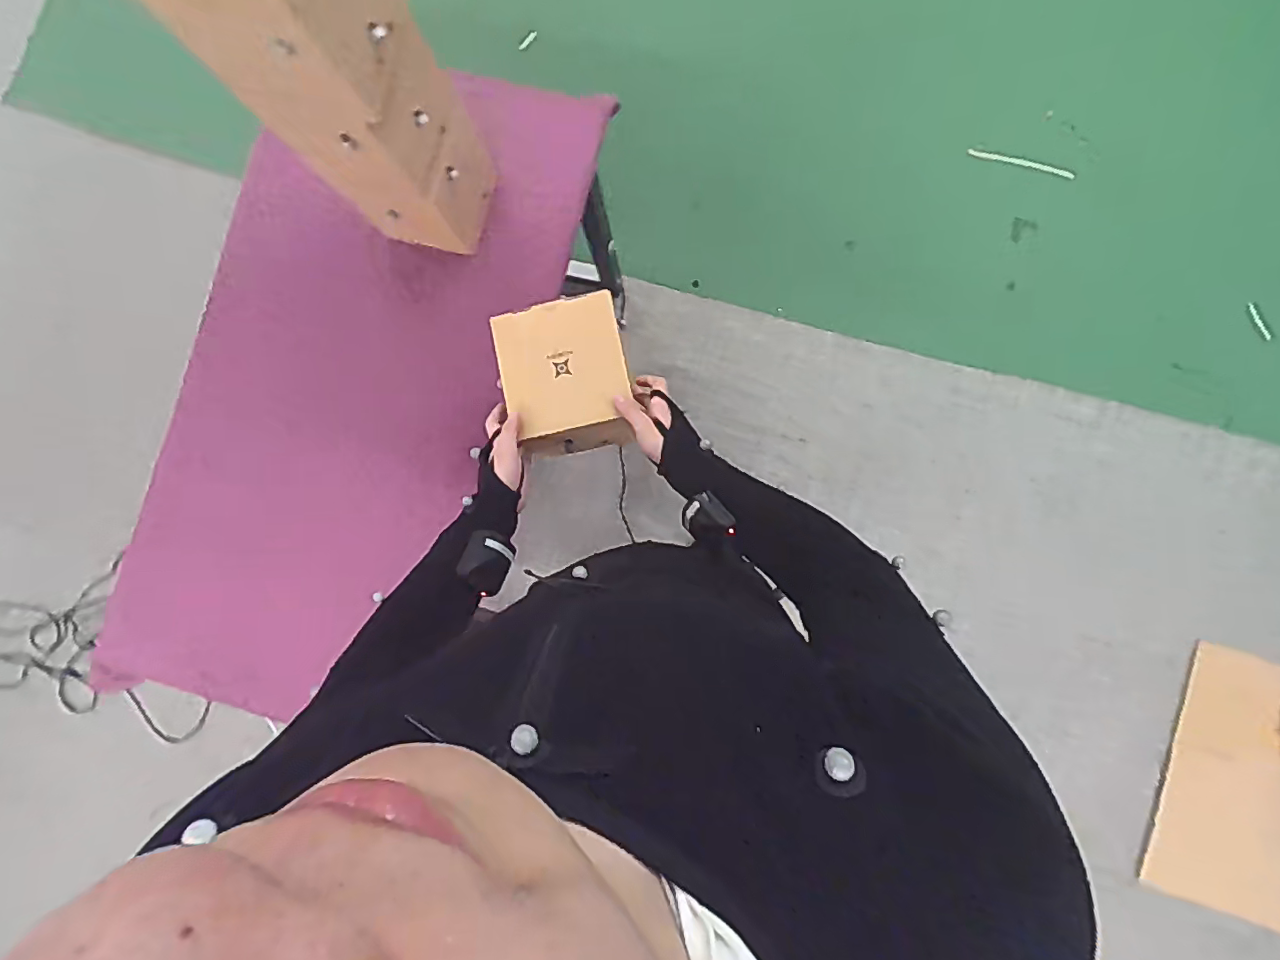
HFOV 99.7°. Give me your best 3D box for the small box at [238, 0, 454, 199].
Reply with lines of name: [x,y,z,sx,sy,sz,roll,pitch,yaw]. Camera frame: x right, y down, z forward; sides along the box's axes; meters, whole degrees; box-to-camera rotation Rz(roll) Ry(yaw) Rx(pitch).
small box: [-0.382,-0.516,0.736,0.179,0.176,0.168,16,87,6]

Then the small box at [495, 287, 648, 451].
small box: [-0.088,-0.143,0.774,0.168,0.176,0.179,-13,84,3]

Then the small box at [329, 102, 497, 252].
small box: [-0.366,-0.505,0.900,0.179,0.176,0.168,14,88,7]
